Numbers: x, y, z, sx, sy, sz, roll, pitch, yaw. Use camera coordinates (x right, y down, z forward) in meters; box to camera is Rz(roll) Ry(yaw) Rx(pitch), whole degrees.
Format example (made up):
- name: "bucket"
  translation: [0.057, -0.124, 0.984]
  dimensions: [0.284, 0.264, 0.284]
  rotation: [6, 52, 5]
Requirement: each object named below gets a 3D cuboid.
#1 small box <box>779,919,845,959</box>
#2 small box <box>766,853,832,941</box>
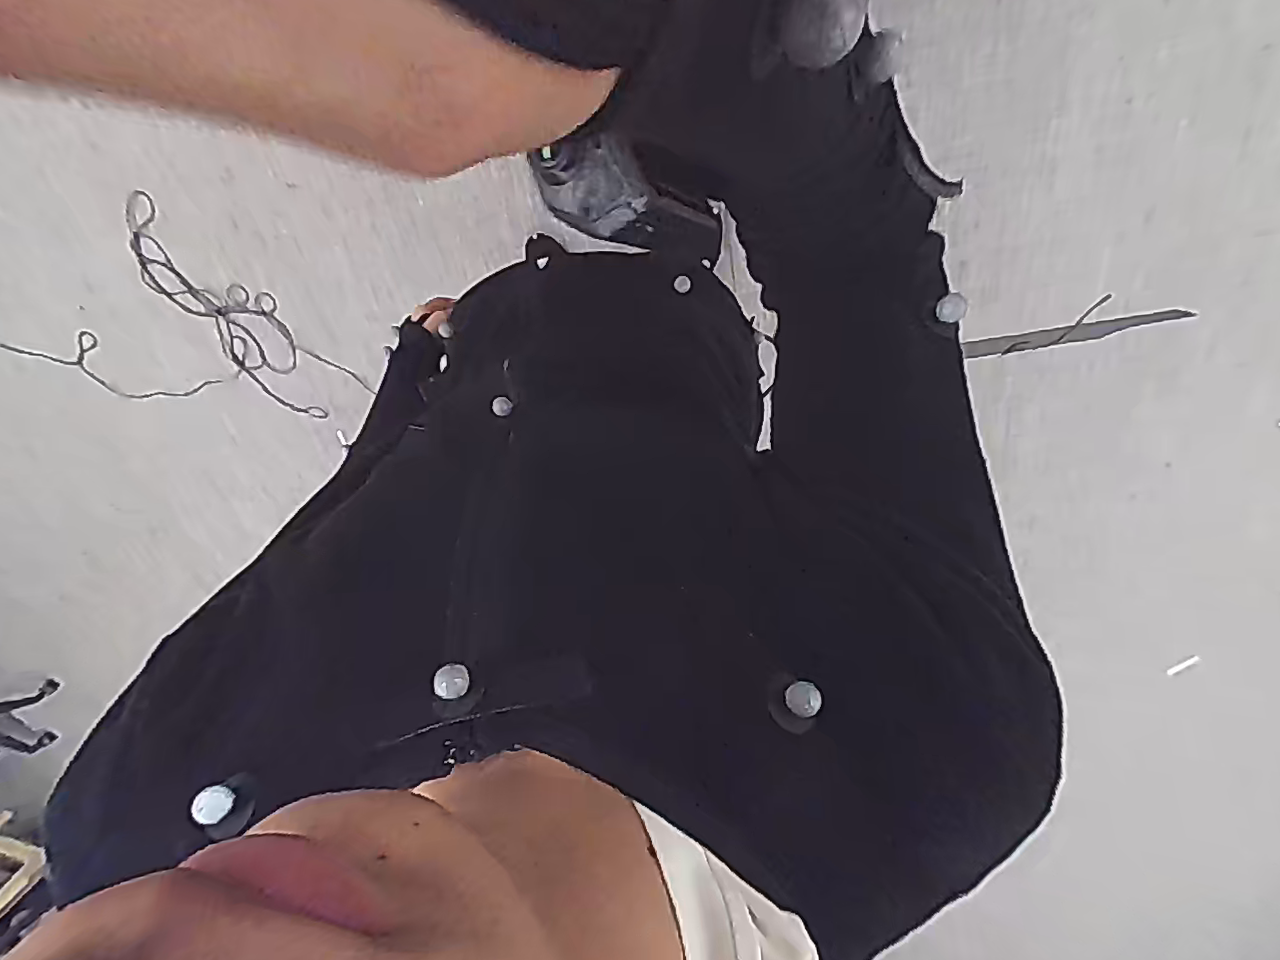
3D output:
- name: "small box"
  translation: [0.504, 1.388, 1.544]
  dimensions: [0.168, 0.176, 0.179]
  rotation: [-14, 117, 8]
- name: "small box"
  translation: [0.496, 1.301, 1.684]
  dimensions: [0.168, 0.176, 0.179]
  rotation: [-12, 117, 7]
